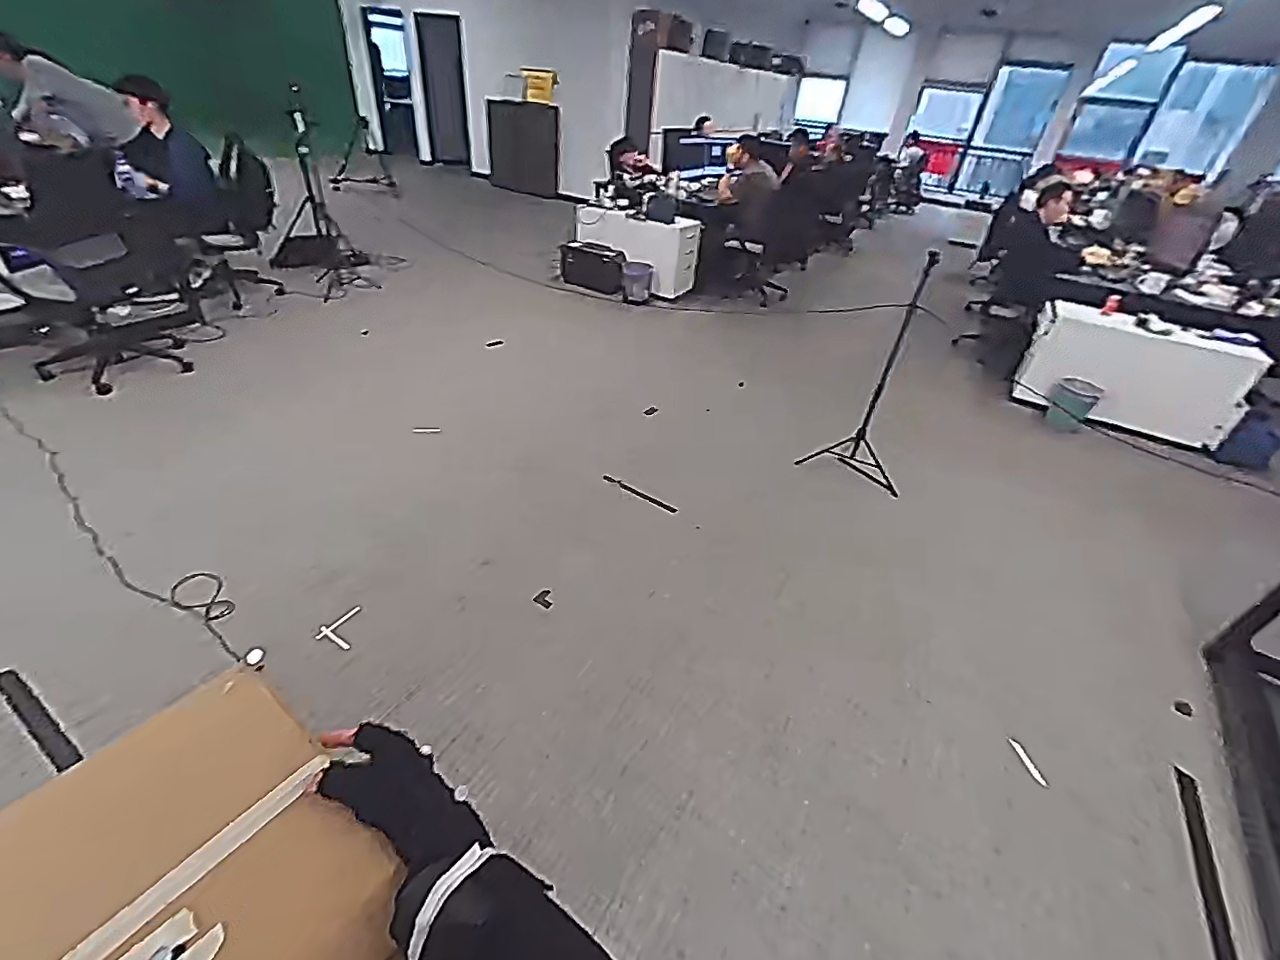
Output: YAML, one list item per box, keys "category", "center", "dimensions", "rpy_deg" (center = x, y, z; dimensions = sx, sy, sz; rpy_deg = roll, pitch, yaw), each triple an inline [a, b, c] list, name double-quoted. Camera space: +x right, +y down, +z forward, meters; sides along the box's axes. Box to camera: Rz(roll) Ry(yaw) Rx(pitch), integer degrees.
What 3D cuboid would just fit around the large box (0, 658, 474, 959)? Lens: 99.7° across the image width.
- category: "large box"
  center: [-0.410, 0.457, 0.466]
  dimensions: [0.320, 0.320, 0.408]
  rpy_deg: [32, 46, 25]
